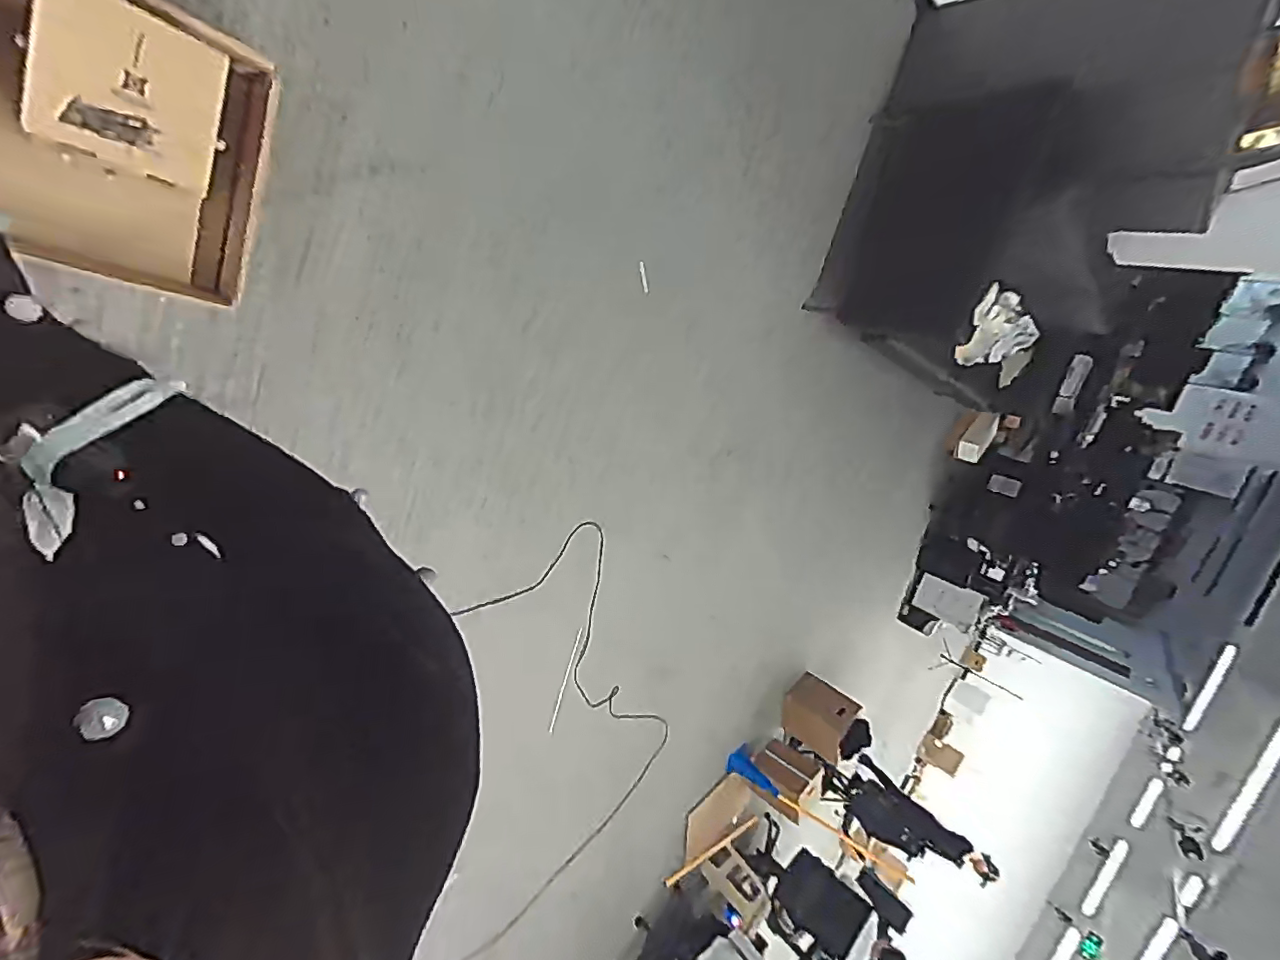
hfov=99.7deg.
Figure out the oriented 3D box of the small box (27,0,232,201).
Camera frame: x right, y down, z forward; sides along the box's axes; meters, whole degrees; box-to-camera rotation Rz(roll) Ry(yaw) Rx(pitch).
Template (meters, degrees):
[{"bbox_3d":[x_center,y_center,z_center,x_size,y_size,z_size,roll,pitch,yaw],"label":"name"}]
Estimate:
[{"bbox_3d":[-0.655,-0.487,0.700,0.168,0.176,0.179,7,105,-47],"label":"small box"}]
